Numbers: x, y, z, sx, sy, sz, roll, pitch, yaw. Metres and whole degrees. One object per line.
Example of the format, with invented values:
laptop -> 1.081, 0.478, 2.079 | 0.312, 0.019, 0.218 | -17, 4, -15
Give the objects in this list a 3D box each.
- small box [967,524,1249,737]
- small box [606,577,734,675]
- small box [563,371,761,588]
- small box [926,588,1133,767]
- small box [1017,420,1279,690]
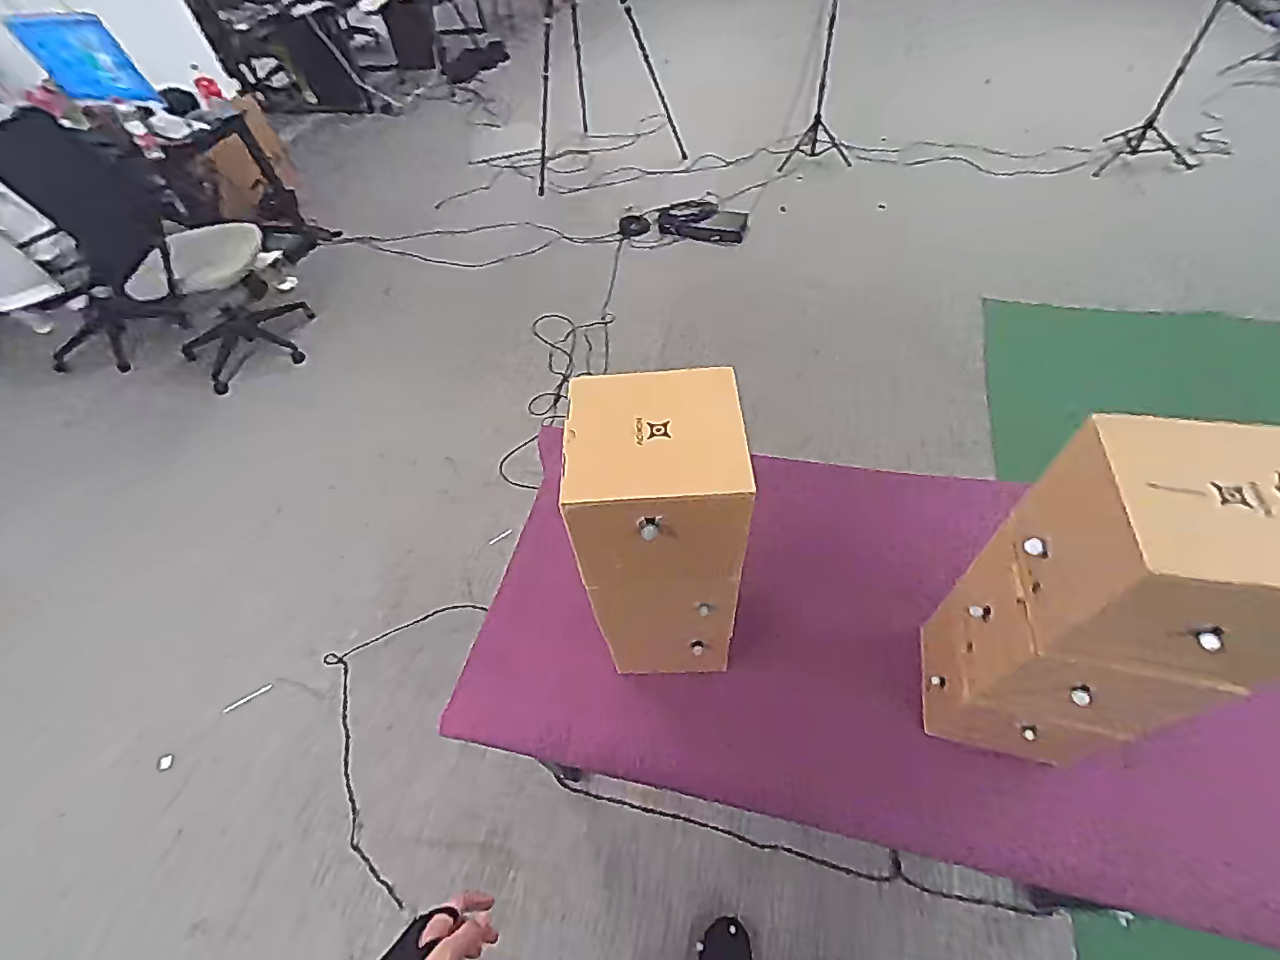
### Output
small box -> 0.491, 0.172, 0.610 | 0.179, 0.176, 0.168 | 8, 55, 14
small box -> 0.048, 0.196, 0.844 | 0.179, 0.176, 0.168 | -3, 52, 4
small box -> 0.023, 0.005, 0.580 | 0.179, 0.176, 0.168 | -4, 53, 3
small box -> 0.505, 0.273, 0.738 | 0.179, 0.176, 0.168 | 10, 55, 14
small box -> 0.478, 0.071, 0.480 | 0.179, 0.176, 0.168 | 7, 54, 13
